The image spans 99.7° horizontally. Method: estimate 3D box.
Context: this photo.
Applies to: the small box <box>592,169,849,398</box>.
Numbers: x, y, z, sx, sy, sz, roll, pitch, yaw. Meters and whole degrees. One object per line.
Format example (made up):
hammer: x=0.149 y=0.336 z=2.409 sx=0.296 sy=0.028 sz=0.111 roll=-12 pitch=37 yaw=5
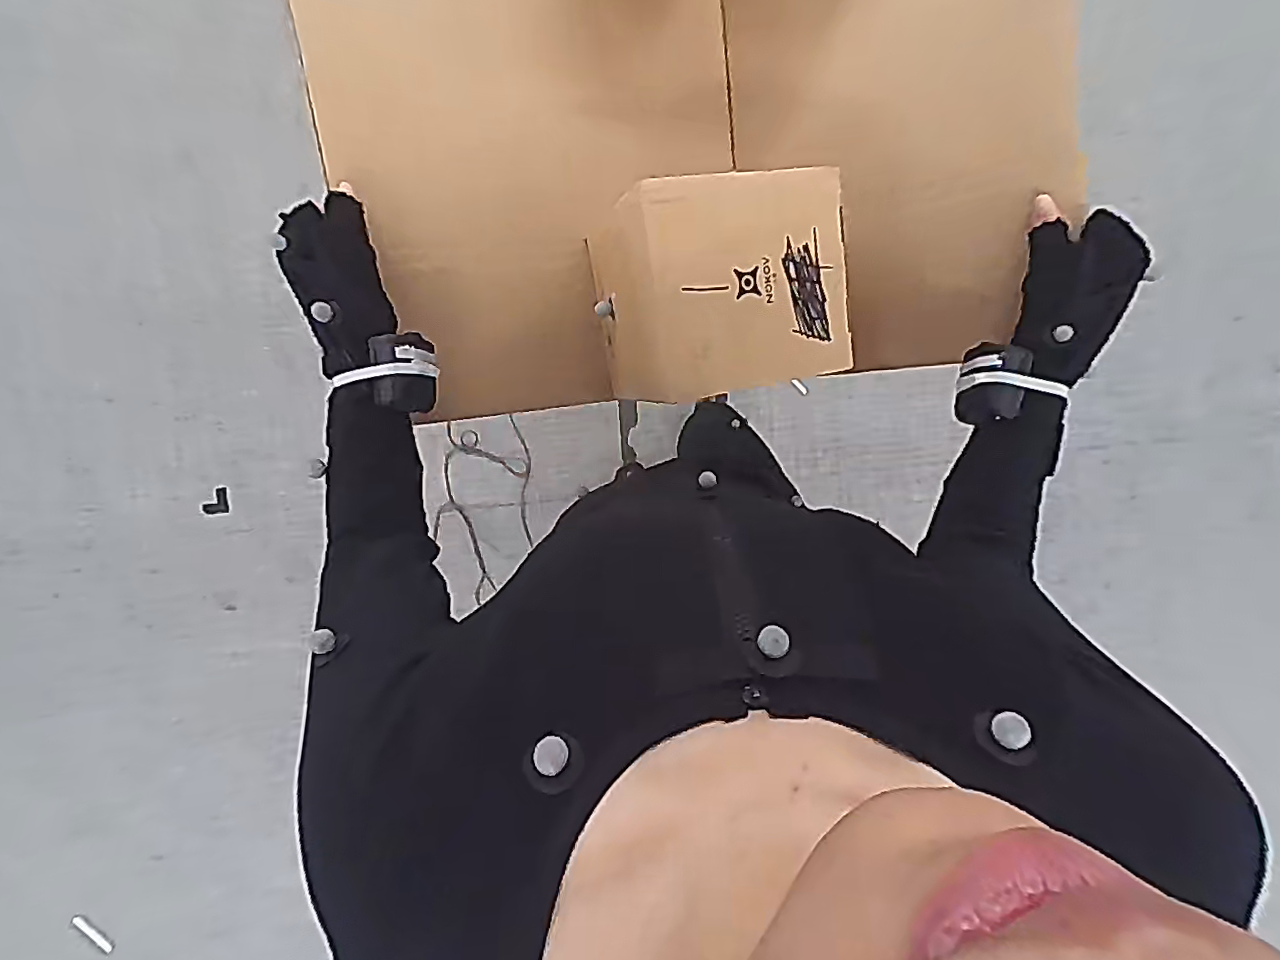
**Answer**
small box: x=0.068 y=-0.174 z=0.512 sx=0.179 sy=0.176 sz=0.168 roll=-13 pitch=103 yaw=-16
